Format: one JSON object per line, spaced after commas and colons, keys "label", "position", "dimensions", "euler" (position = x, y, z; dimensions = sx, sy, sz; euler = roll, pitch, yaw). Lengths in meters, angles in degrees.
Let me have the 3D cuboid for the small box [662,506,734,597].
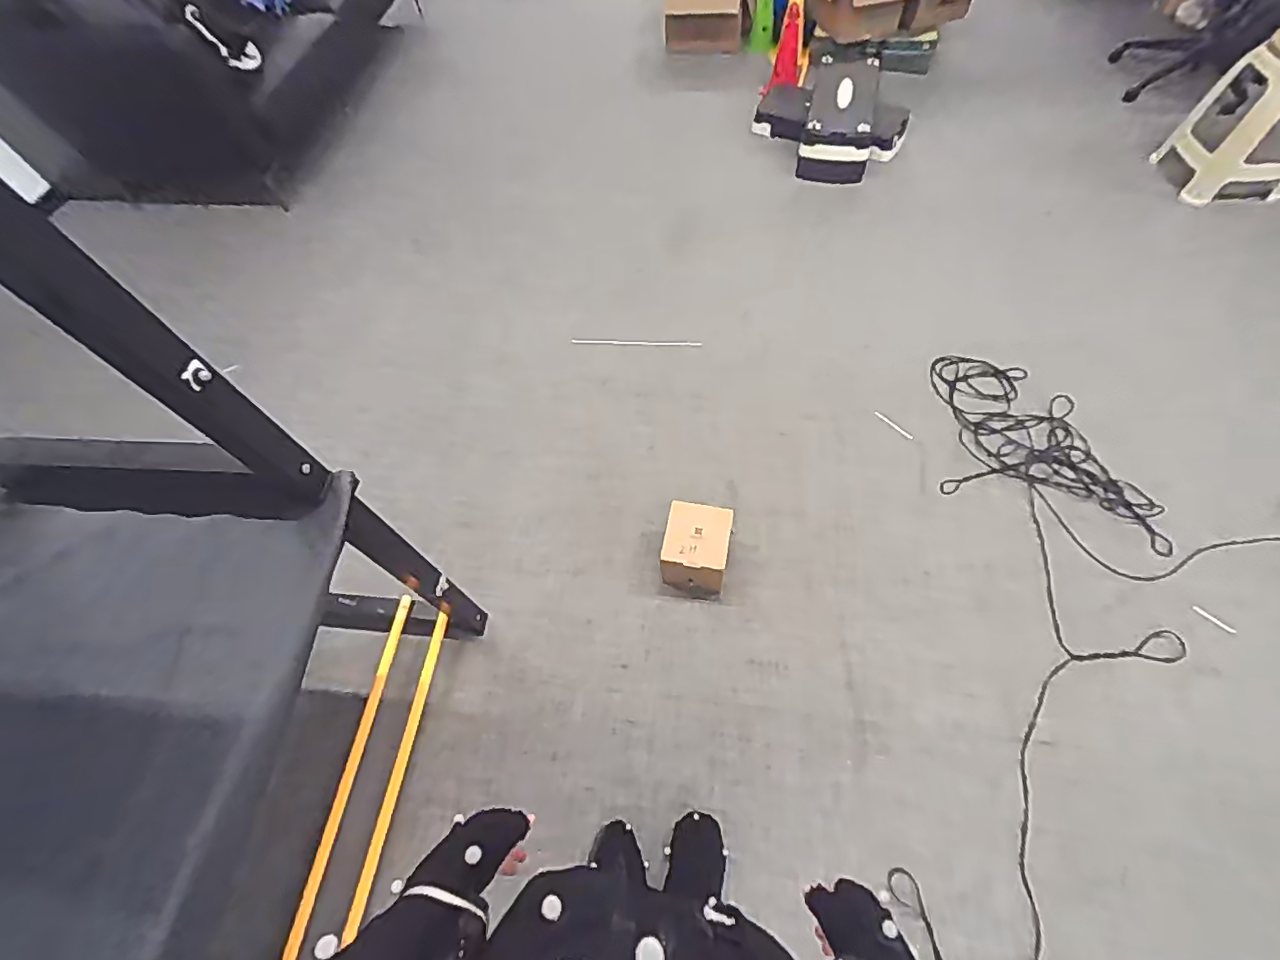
{"label": "small box", "position": [0.157, 0.196, 1.460], "dimensions": [0.168, 0.176, 0.179], "euler": [8, 61, 11]}
